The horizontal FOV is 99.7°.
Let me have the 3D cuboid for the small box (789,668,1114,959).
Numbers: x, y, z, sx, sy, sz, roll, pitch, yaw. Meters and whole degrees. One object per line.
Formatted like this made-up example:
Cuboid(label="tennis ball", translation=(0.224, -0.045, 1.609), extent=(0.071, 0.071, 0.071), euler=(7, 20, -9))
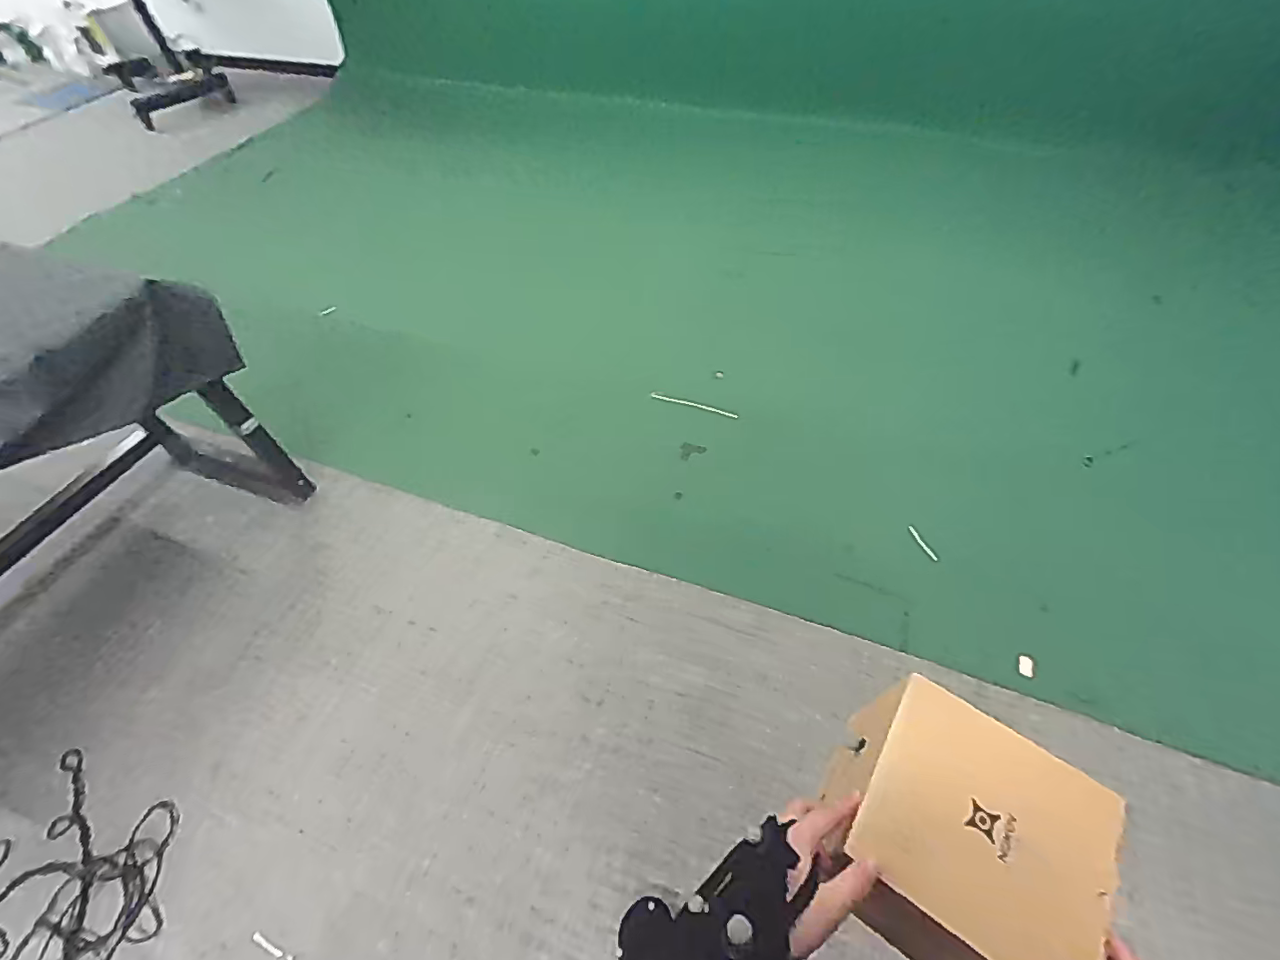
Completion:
Cuboid(label="small box", translation=(0.255, 0.306, 0.476), extent=(0.179, 0.176, 0.168), euler=(30, 57, 18))
